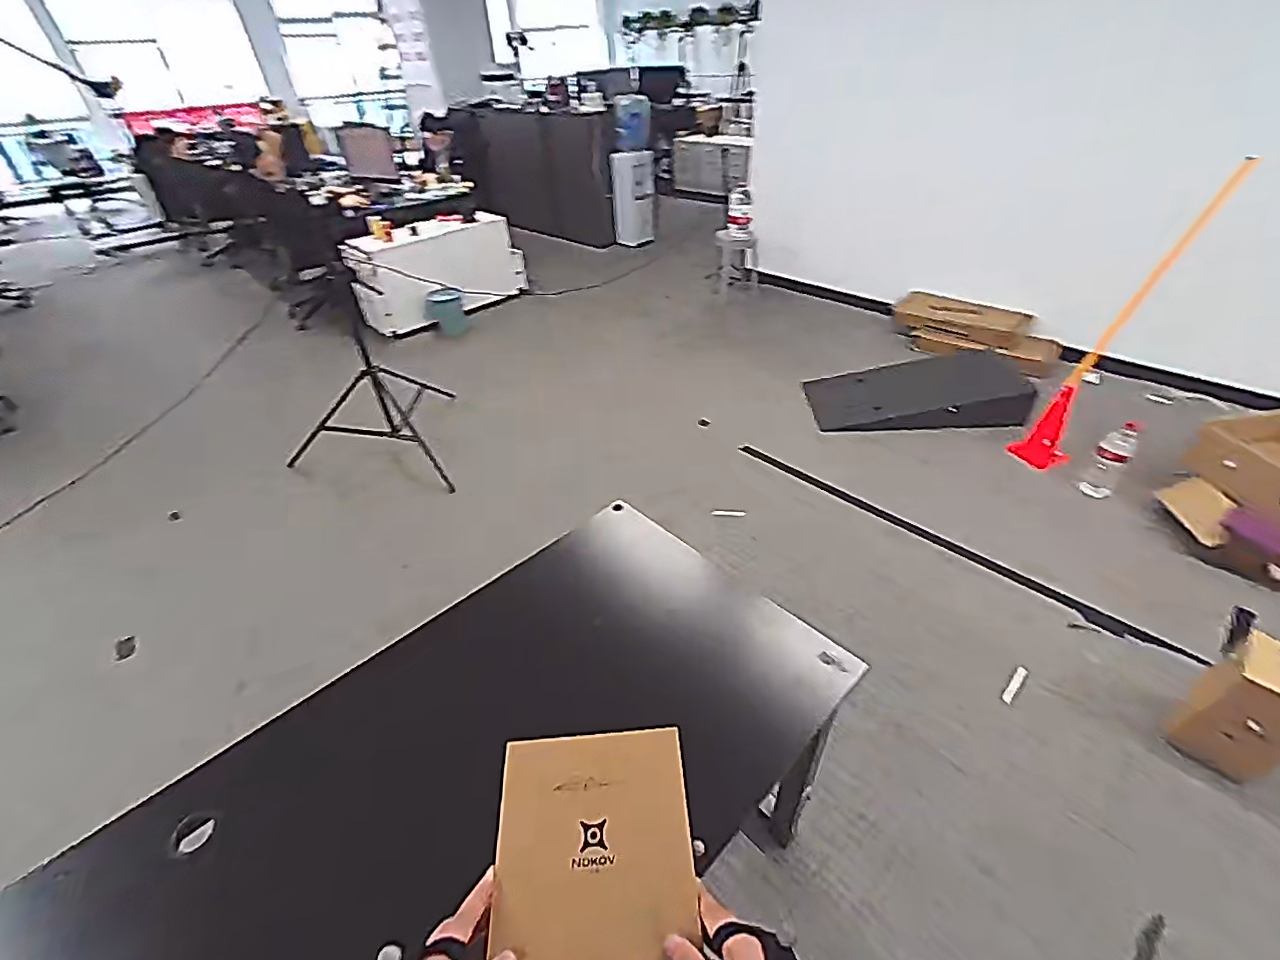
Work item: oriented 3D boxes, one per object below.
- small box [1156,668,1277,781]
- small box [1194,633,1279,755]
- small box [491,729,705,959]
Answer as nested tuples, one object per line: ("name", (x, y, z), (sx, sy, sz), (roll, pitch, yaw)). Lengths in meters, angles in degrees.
("small box", (1.512, 0.641, 1.414), (0.168, 0.176, 0.179), (-33, 48, -31))
("small box", (1.503, 0.516, 1.307), (0.179, 0.176, 0.168), (-33, 47, -31))
("small box", (-0.034, 0.362, 0.513), (0.168, 0.176, 0.179), (-3, 44, -2))
